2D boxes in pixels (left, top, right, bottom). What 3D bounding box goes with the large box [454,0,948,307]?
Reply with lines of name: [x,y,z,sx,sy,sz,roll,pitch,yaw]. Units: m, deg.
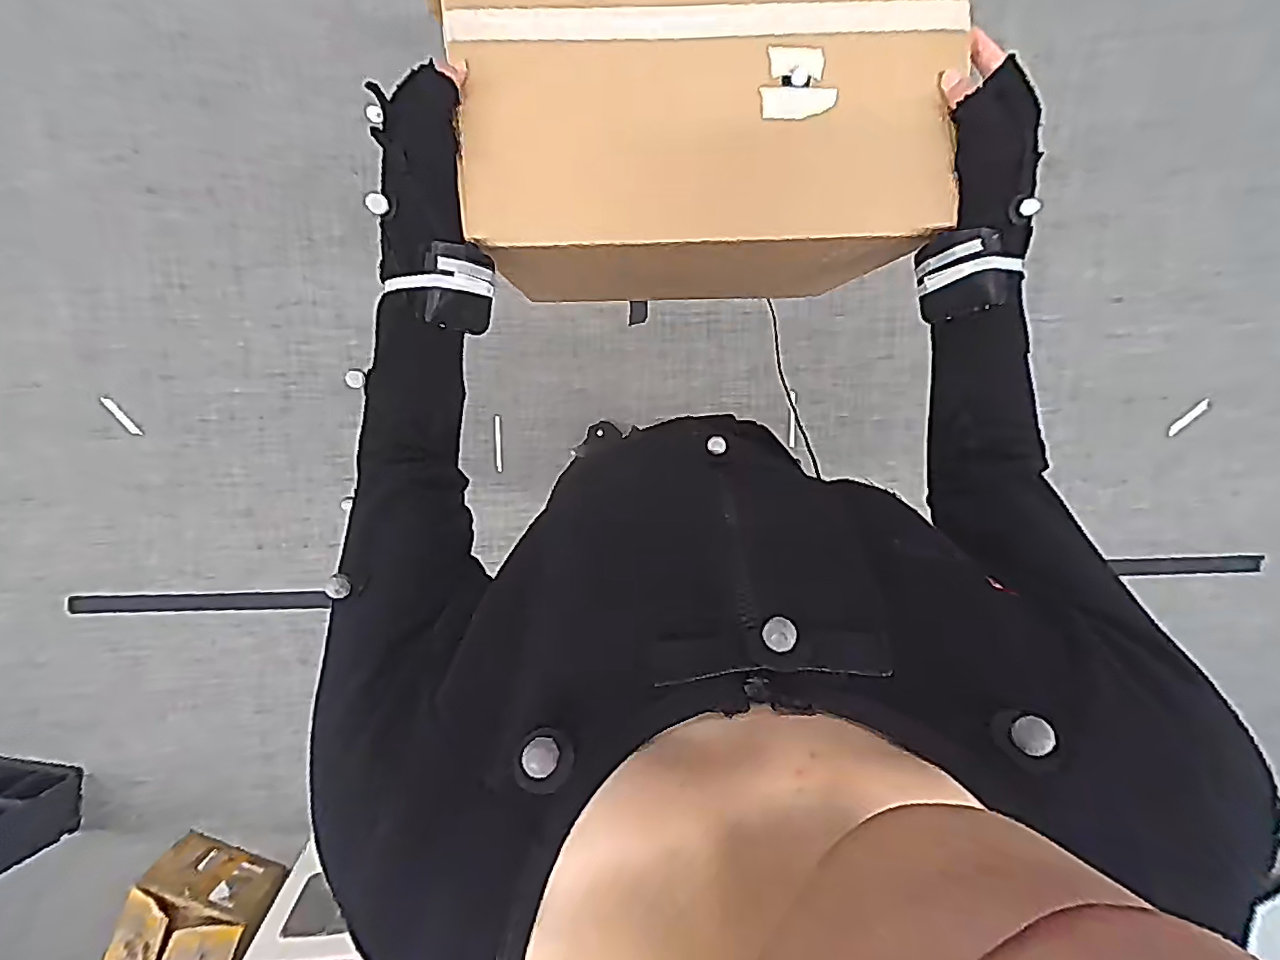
large box: [0.045,-0.377,0.584,0.408,0.320,0.320,-3,100,-2]
